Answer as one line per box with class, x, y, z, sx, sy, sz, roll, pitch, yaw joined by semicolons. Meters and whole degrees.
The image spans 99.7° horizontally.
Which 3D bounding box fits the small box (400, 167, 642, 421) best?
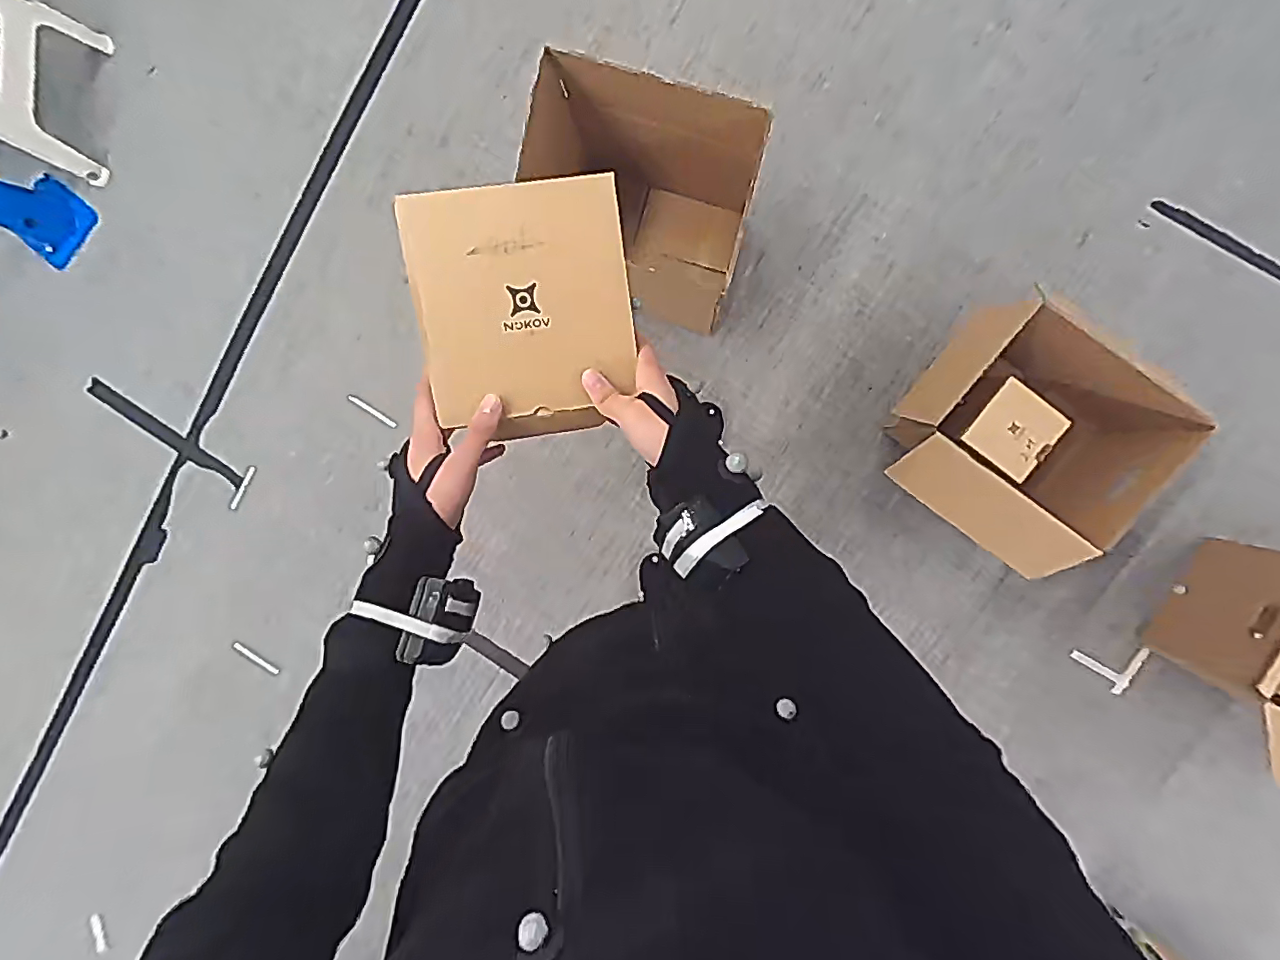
small box;-0.094;-0.156;0.495;0.168;0.176;0.179;-8;101;-5
